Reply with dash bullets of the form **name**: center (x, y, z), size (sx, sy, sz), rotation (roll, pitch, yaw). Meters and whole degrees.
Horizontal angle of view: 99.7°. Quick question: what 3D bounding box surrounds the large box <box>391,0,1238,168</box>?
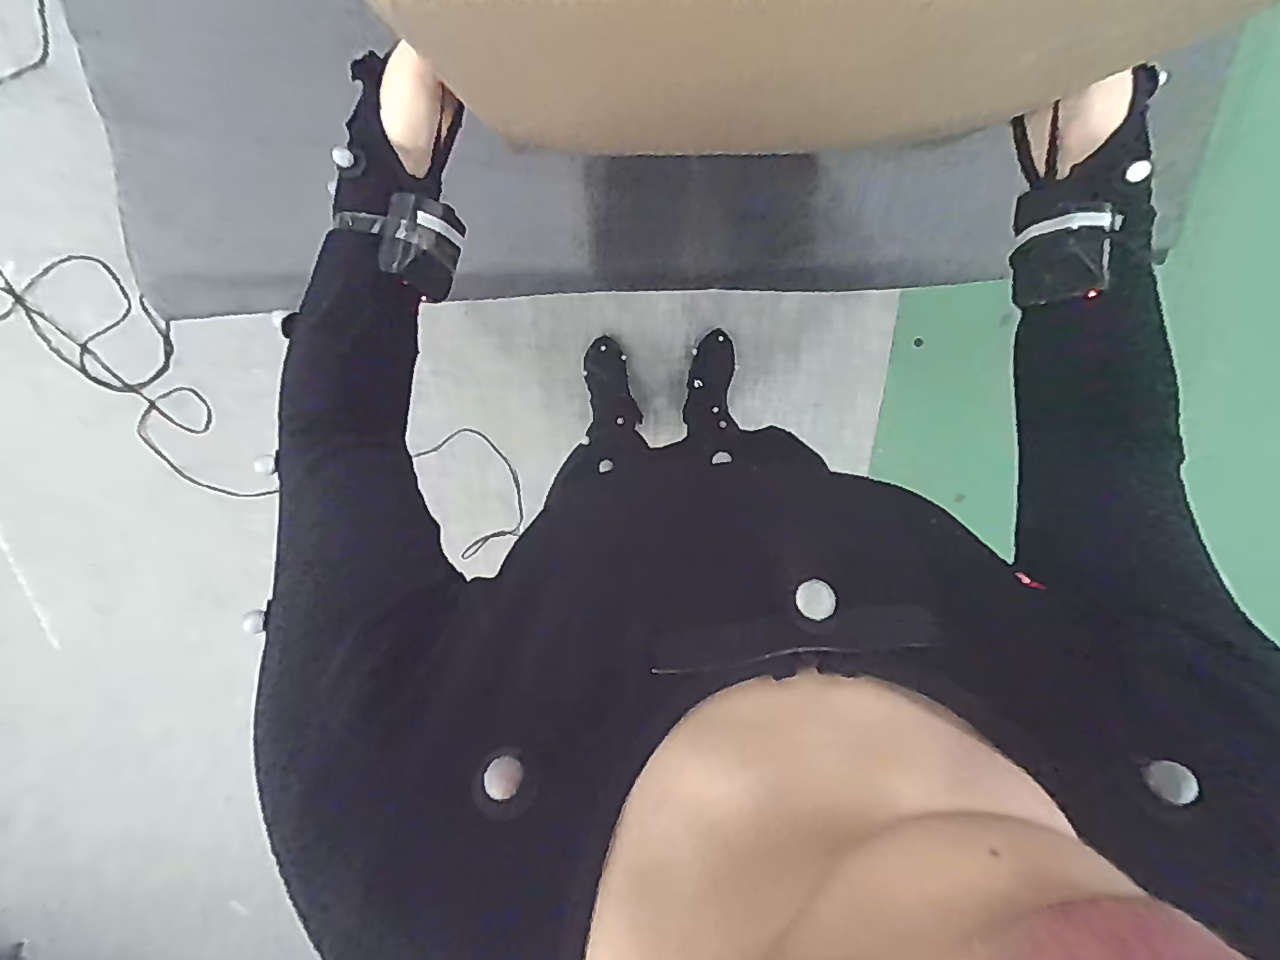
- **large box**: center (0.075, -0.401, 0.328), size (0.408, 0.320, 0.320), rotation (-2, 111, -1)
